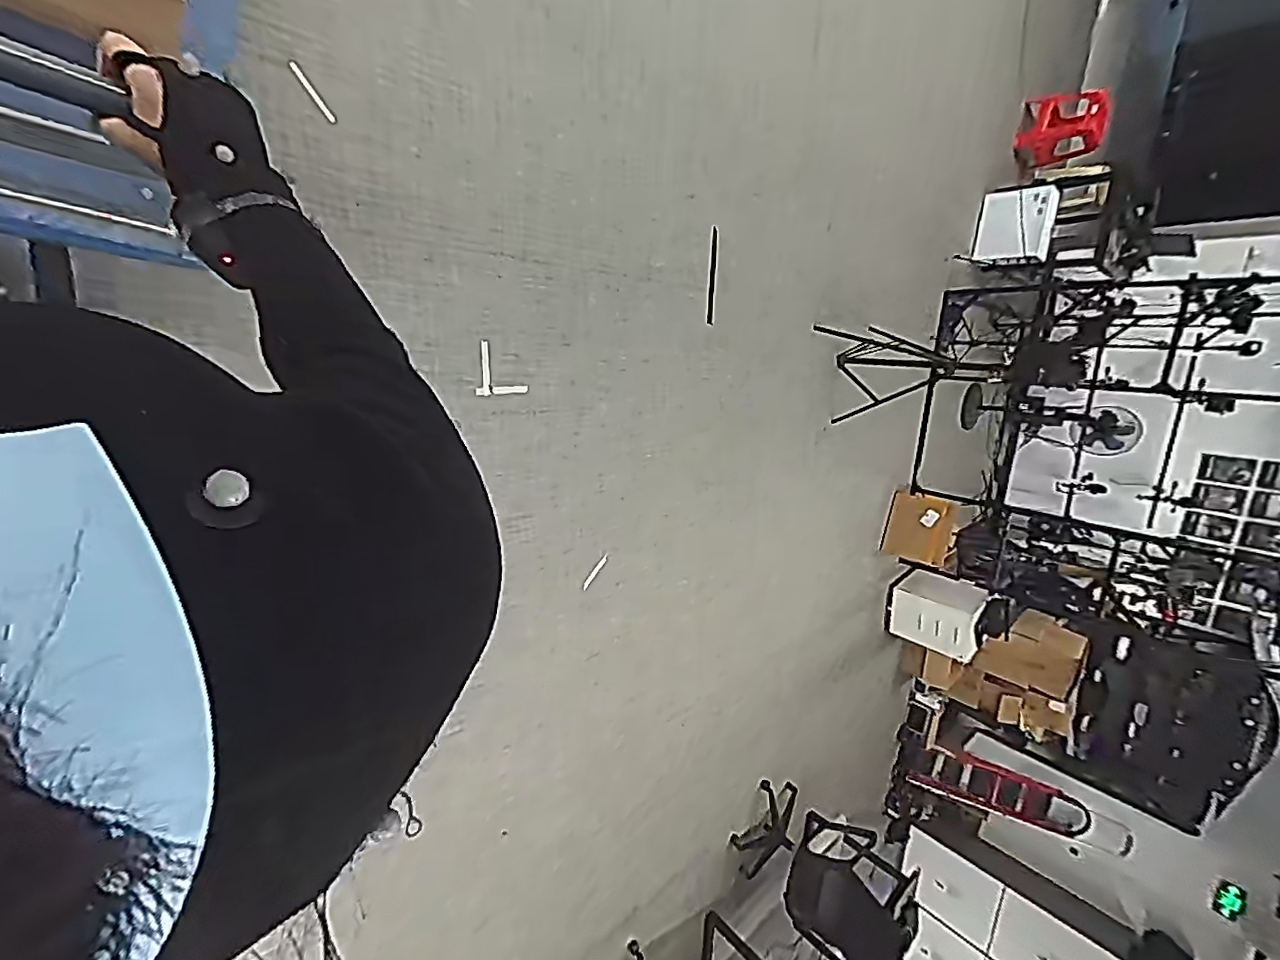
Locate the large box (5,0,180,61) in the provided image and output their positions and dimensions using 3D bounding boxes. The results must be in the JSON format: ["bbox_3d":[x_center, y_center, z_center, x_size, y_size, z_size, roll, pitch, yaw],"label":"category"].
[{"bbox_3d":[-0.832,-0.825,0.664,0.408,0.320,0.320,1,101,-43],"label":"large box"}]
